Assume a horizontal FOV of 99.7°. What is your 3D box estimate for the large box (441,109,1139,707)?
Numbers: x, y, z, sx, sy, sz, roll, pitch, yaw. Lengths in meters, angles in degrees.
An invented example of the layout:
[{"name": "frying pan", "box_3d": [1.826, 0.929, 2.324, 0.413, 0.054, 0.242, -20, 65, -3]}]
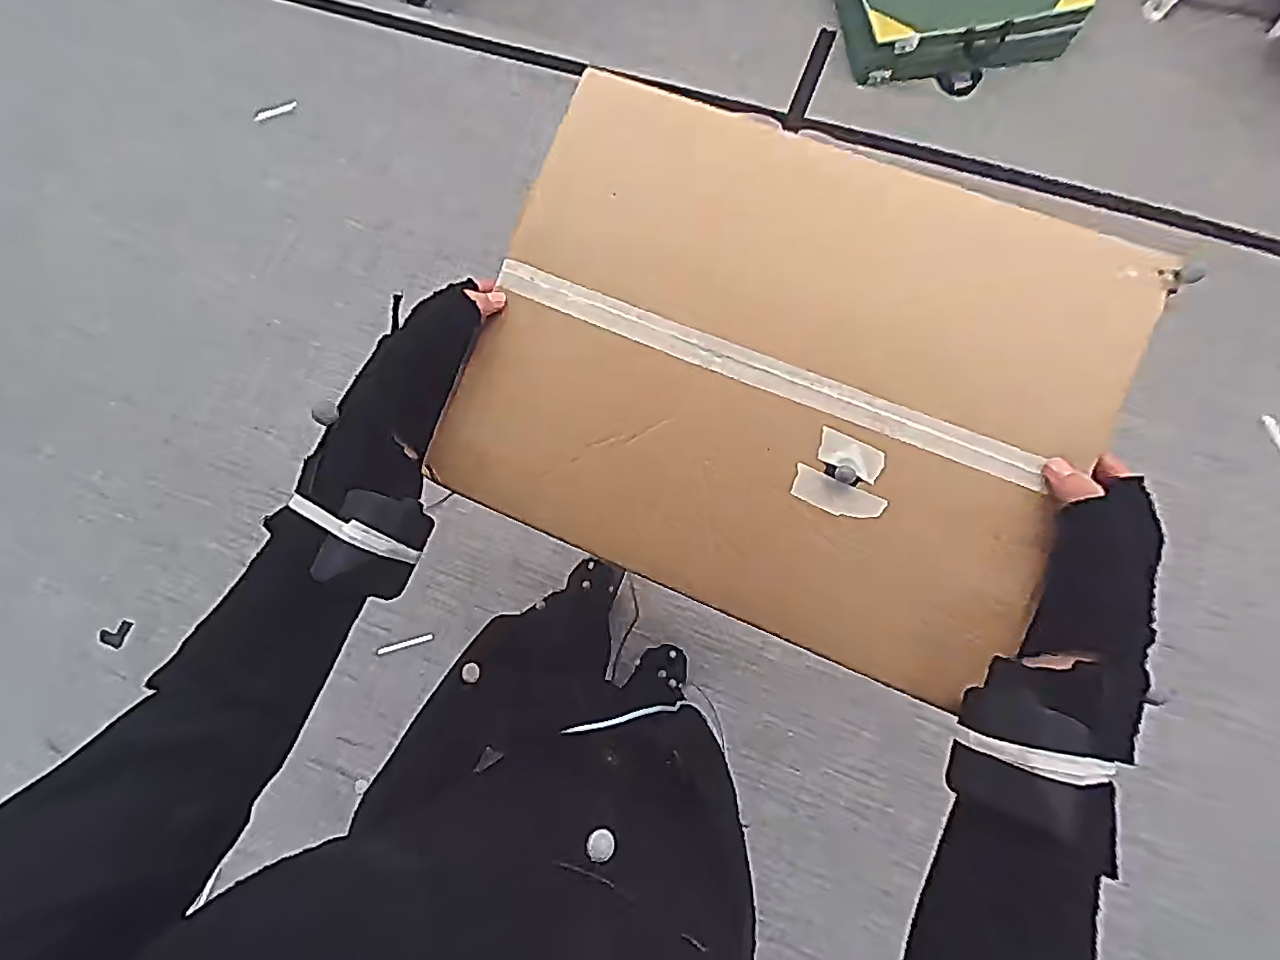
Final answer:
[{"name": "large box", "box_3d": [0.103, -0.056, 0.522, 0.408, 0.320, 0.320, 23, 91, 6]}]
